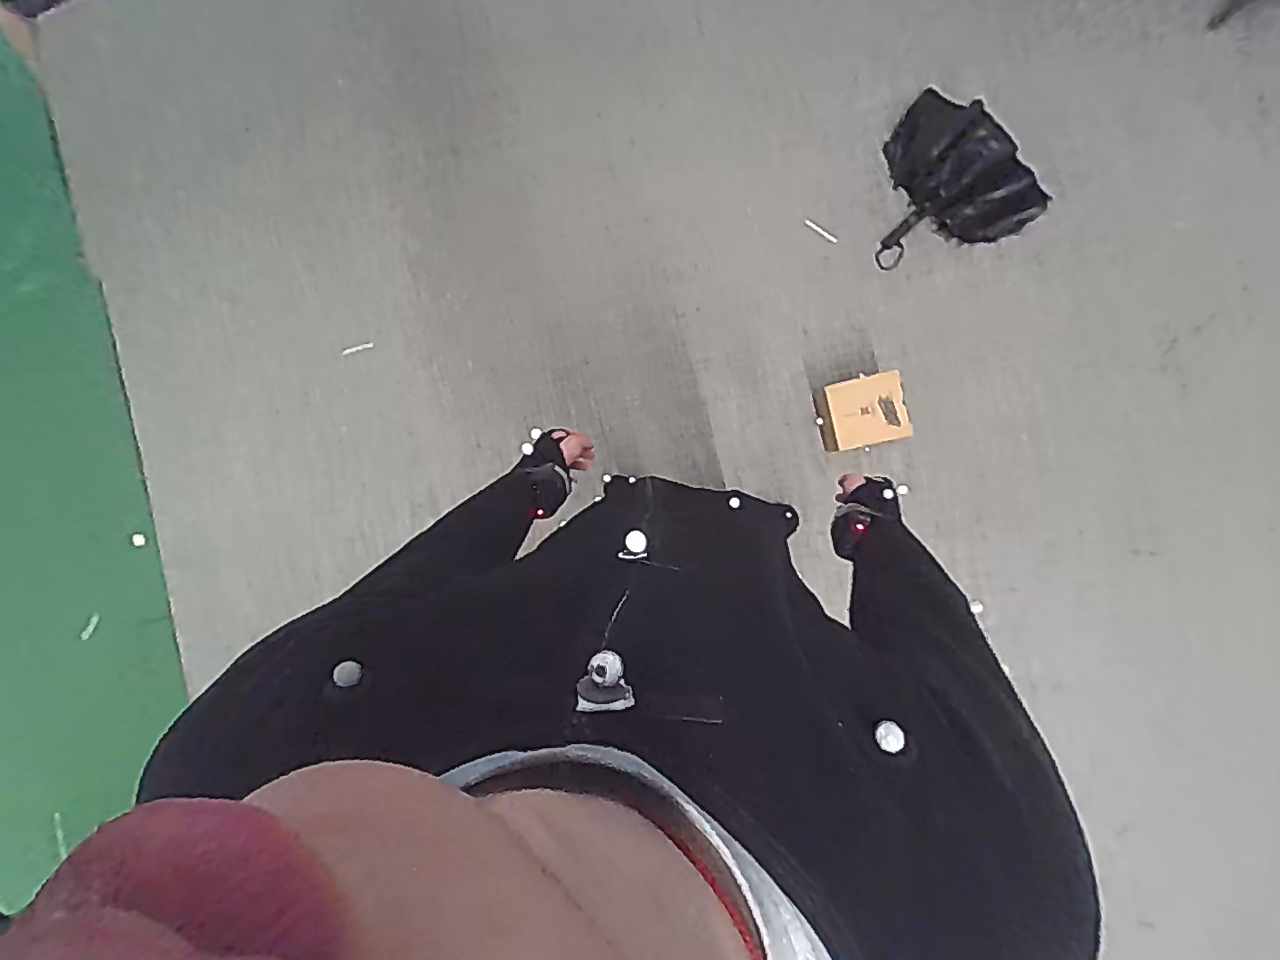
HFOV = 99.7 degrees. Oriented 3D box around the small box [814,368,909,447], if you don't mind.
[{"bbox_3d":[0.565,-0.181,1.398,0.179,0.176,0.168,-12,90,11],"label":"small box"}]
